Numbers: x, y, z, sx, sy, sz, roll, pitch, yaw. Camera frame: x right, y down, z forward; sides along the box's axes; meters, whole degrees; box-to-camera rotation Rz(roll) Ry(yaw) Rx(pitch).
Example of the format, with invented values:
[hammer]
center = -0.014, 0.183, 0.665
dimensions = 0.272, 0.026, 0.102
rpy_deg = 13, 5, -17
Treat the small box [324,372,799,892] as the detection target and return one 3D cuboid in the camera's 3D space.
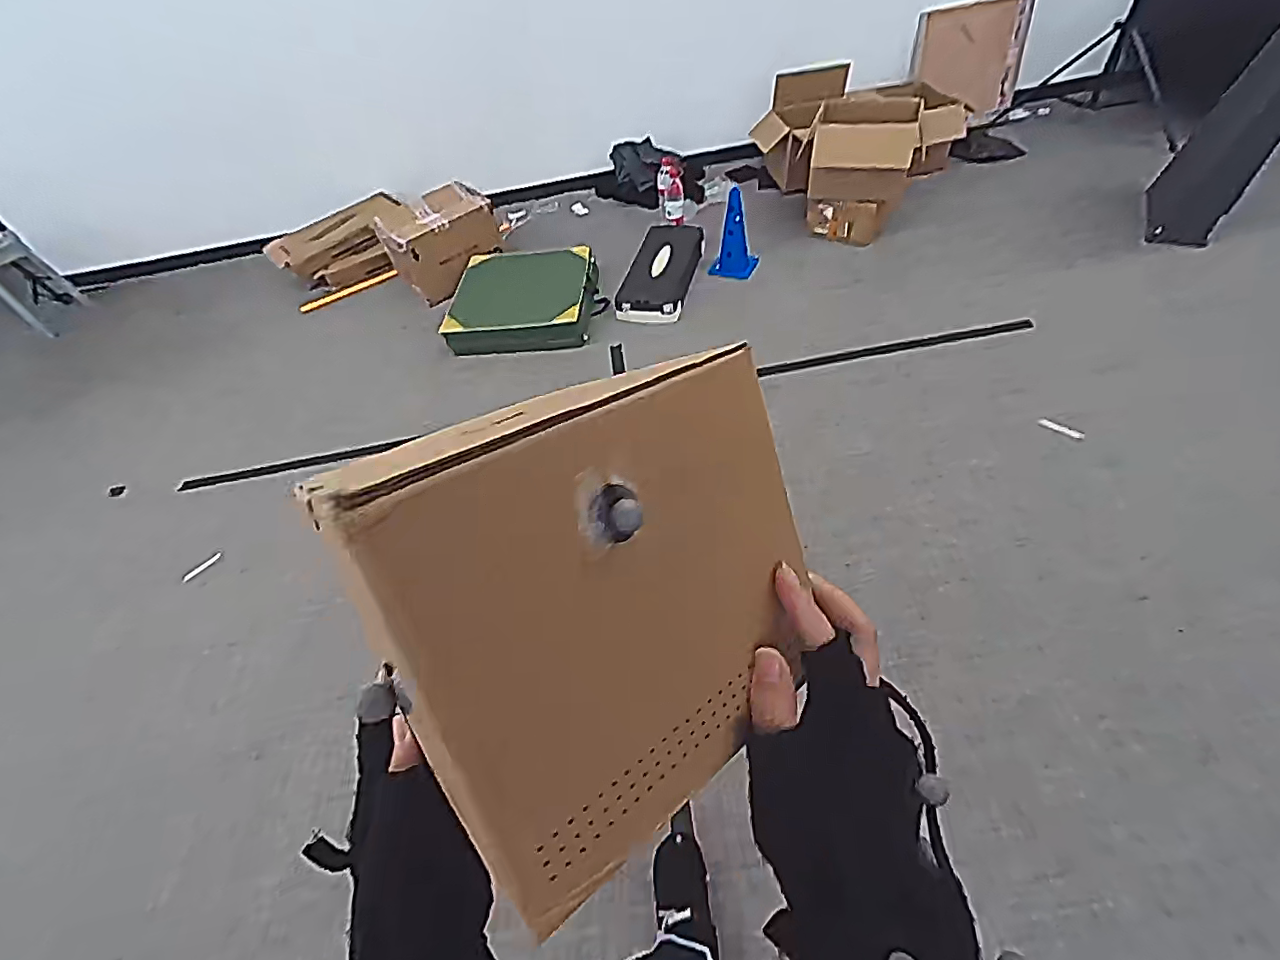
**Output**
[small box]
center = -0.040, 0.057, 0.293
dimensions = 0.179, 0.176, 0.168
rpy_deg = -26, 16, -30
